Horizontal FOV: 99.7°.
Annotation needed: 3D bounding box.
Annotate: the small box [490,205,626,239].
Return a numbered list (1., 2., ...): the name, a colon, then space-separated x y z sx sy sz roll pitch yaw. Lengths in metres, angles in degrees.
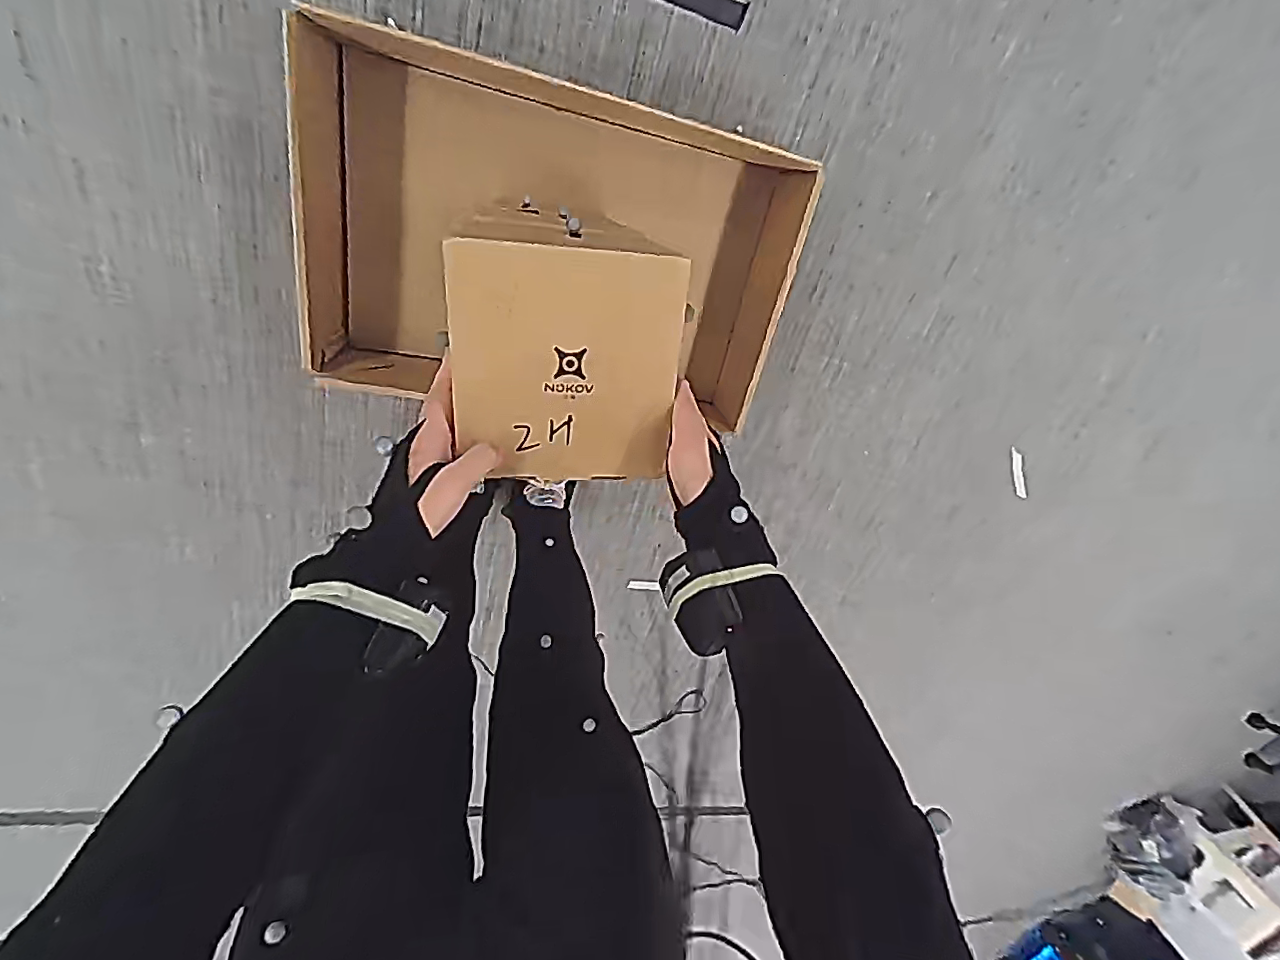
1. small box: -0.123 -0.275 0.751 0.168 0.176 0.179 2 119 -13

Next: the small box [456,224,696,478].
1. small box: -0.063 -0.116 0.468 0.168 0.176 0.179 0 118 -11
